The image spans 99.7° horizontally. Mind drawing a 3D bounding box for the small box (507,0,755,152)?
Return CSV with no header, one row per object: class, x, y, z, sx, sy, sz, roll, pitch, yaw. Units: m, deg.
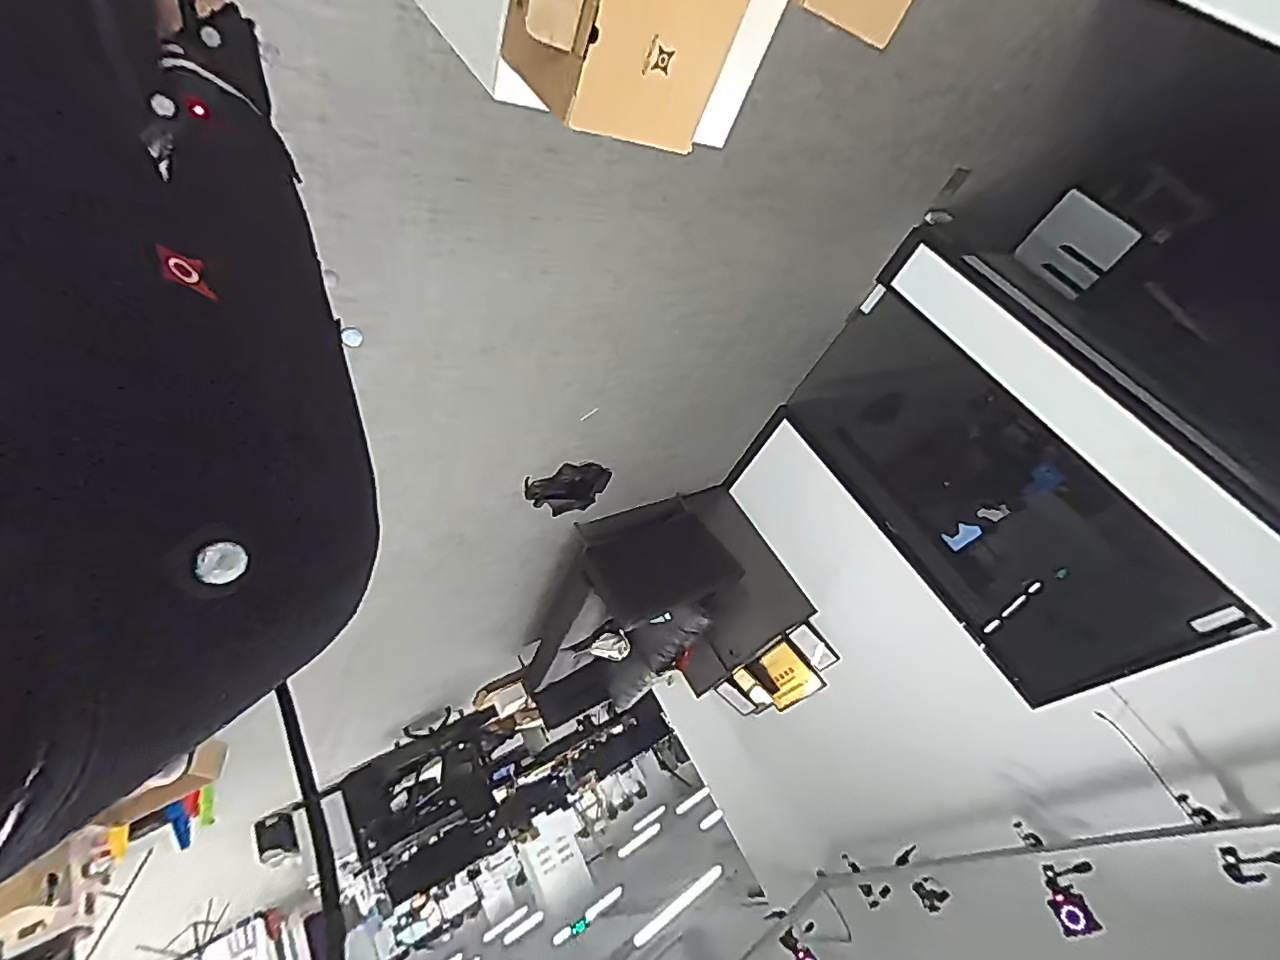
small box,-0.018,-0.492,0.582,0.179,0.176,0.168,-14,150,-36
